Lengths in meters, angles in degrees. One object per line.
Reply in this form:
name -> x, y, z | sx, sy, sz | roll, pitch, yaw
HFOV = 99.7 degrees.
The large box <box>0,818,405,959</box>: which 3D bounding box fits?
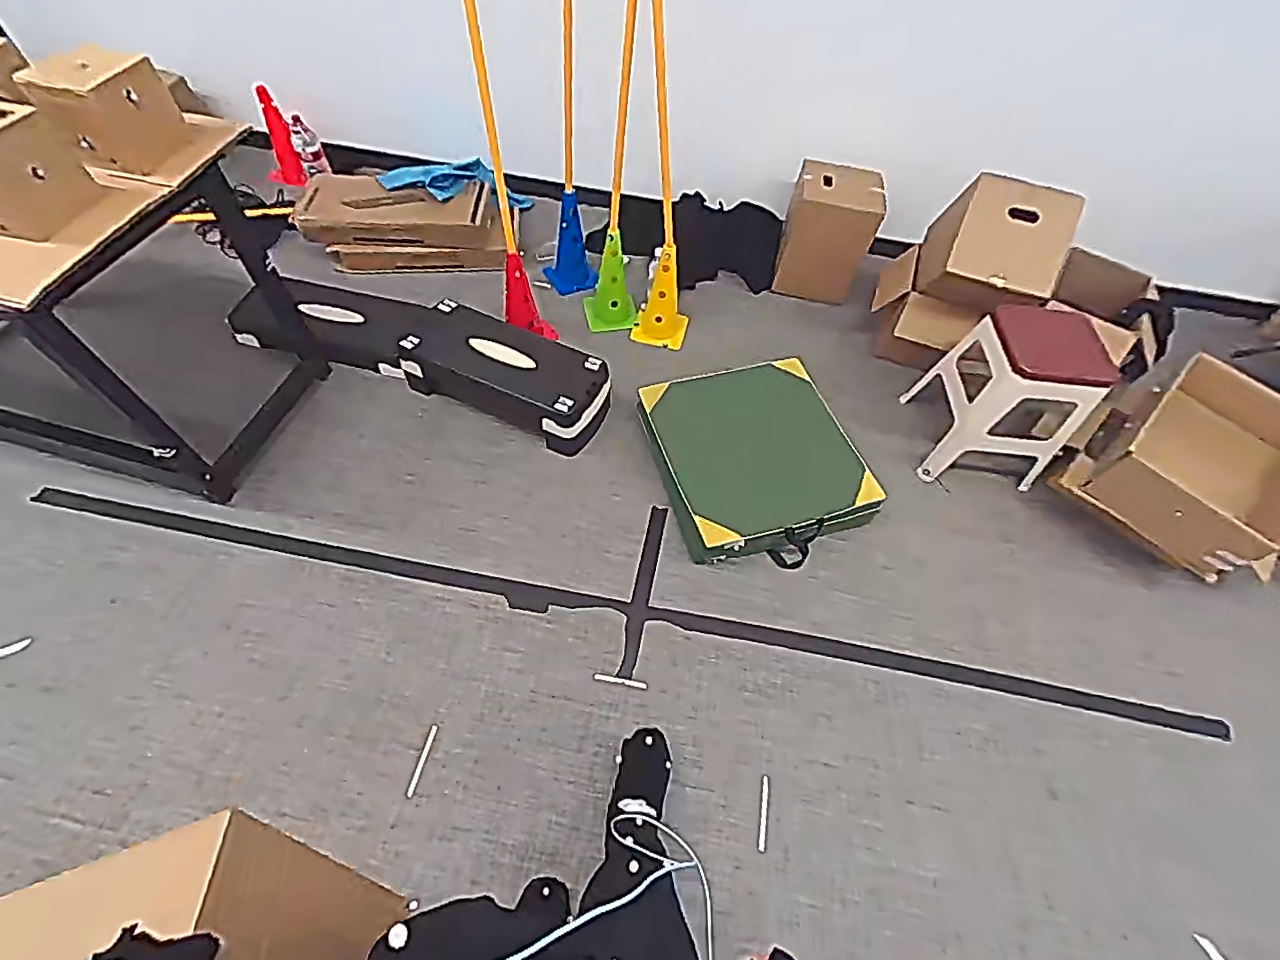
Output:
large box -> -0.533, 0.678, 0.633 | 0.320, 0.408, 0.320 | -20, 38, -2
